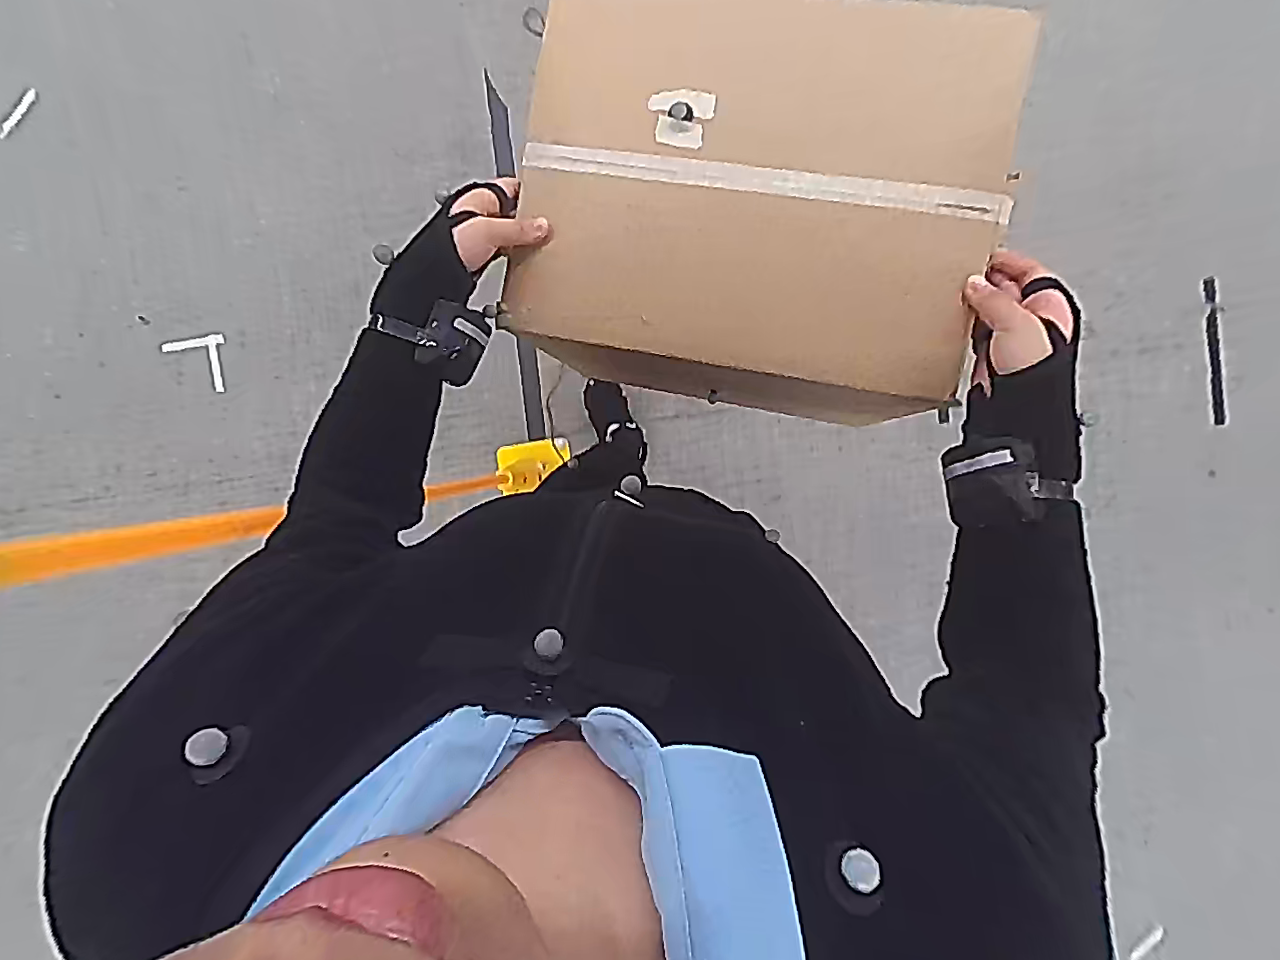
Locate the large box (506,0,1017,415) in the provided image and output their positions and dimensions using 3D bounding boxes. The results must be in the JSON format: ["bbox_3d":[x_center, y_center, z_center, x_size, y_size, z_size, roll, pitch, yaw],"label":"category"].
[{"bbox_3d":[0.115,-0.264,0.621,0.408,0.320,0.320,11,92,9],"label":"large box"}]
